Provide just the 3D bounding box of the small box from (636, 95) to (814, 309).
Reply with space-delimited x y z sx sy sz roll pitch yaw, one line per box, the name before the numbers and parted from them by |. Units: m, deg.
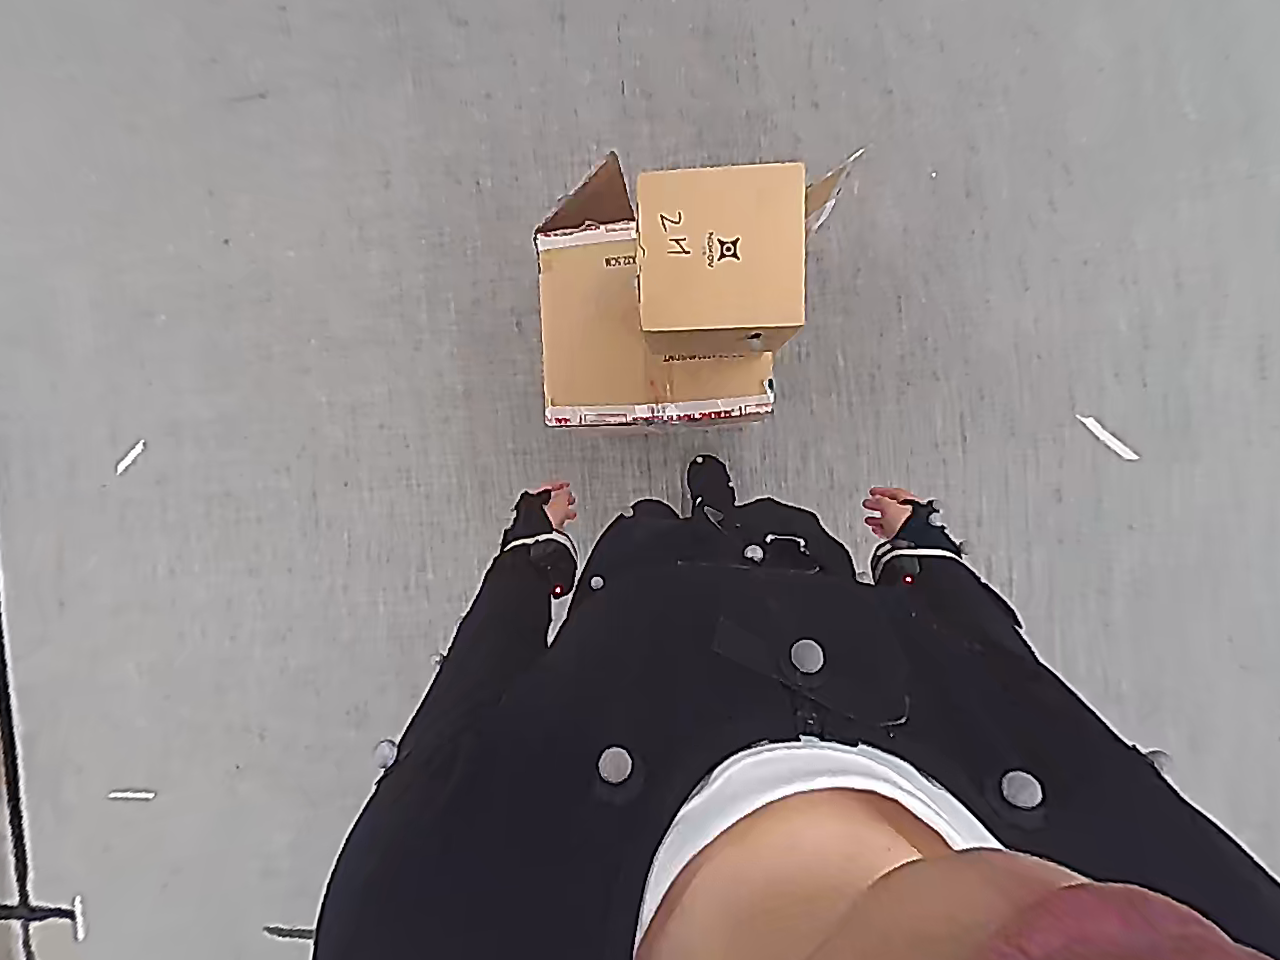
small box | 0.091 -0.300 0.620 0.179 0.176 0.168 -3 96 5
